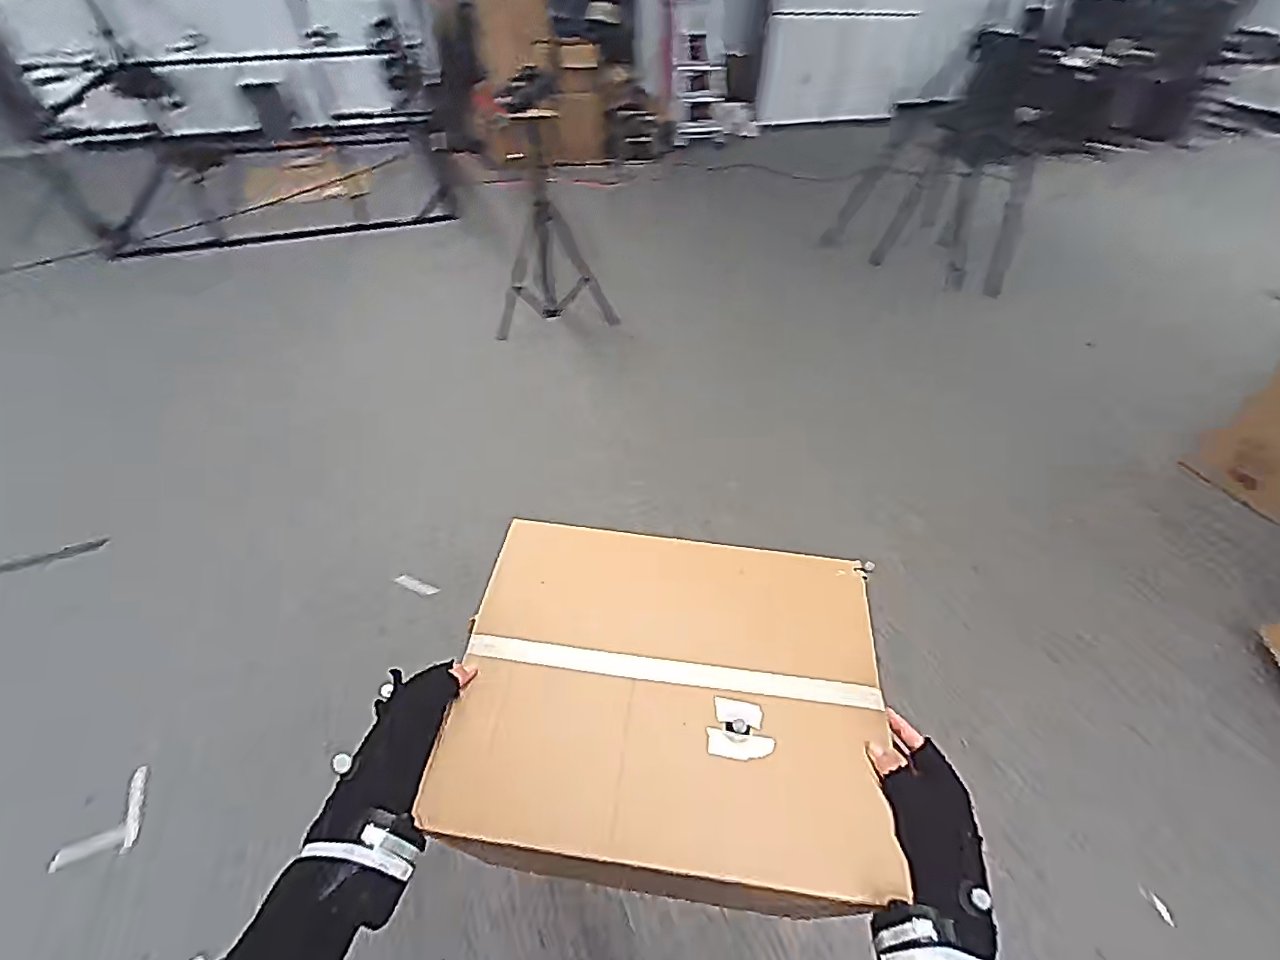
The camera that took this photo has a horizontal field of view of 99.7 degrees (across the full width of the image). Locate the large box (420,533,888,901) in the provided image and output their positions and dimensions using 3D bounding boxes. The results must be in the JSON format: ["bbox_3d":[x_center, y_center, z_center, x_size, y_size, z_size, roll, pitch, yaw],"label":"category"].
[{"bbox_3d":[0.016,0.292,0.658,0.408,0.320,0.320,6,51,2],"label":"large box"}]
